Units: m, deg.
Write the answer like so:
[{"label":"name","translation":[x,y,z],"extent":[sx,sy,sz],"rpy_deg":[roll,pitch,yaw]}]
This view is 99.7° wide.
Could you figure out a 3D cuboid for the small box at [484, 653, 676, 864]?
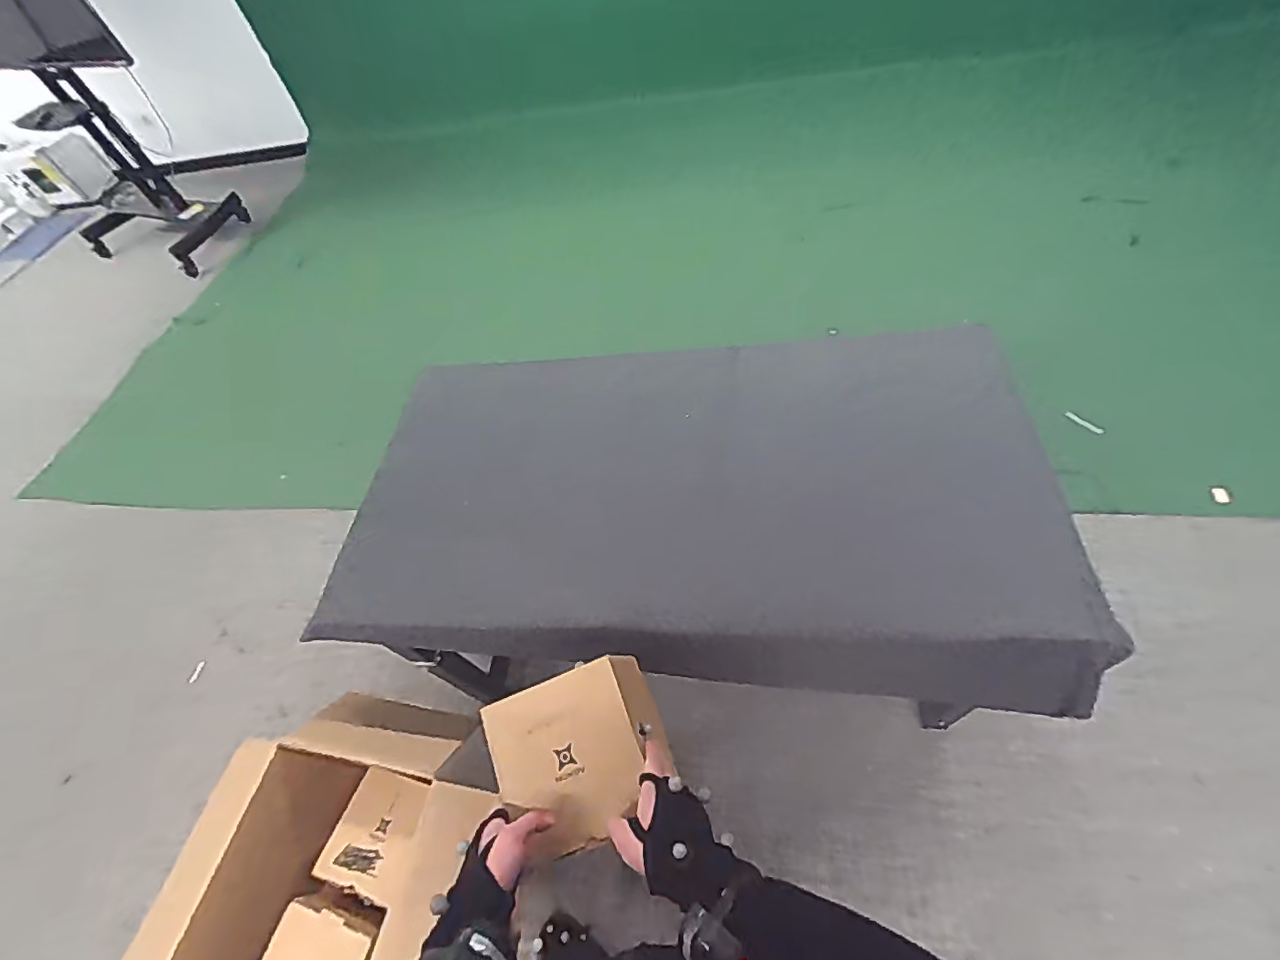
[{"label":"small box","translation":[-0.064,0.328,0.674],"extent":[0.168,0.176,0.179],"rpy_deg":[-24,69,2]}]
